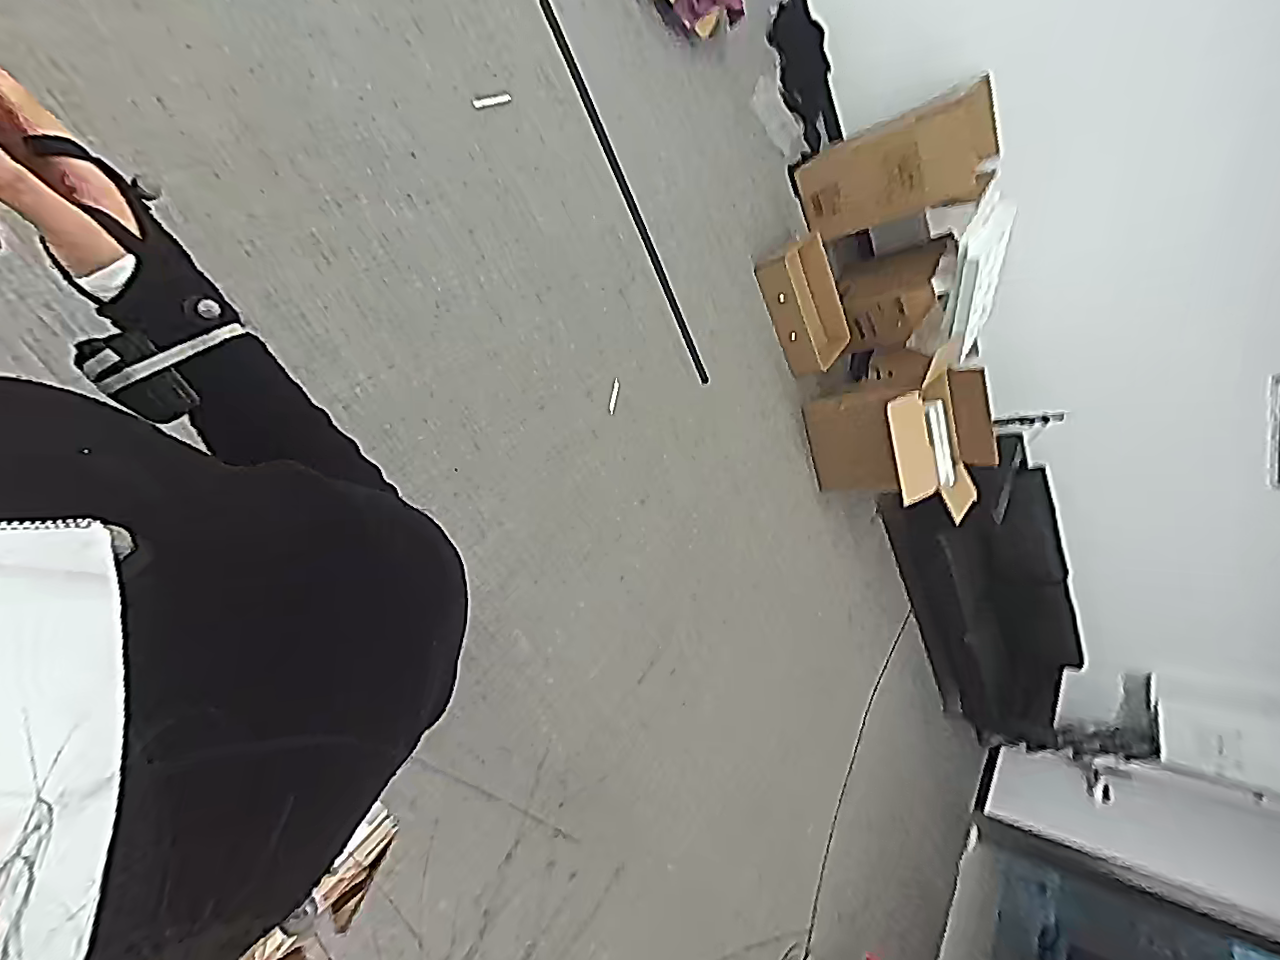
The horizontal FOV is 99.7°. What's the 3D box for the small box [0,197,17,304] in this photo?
[{"bbox_3d":[-0.476,-0.199,0.287,0.168,0.176,0.179,-15,104,-46],"label":"small box"}]
